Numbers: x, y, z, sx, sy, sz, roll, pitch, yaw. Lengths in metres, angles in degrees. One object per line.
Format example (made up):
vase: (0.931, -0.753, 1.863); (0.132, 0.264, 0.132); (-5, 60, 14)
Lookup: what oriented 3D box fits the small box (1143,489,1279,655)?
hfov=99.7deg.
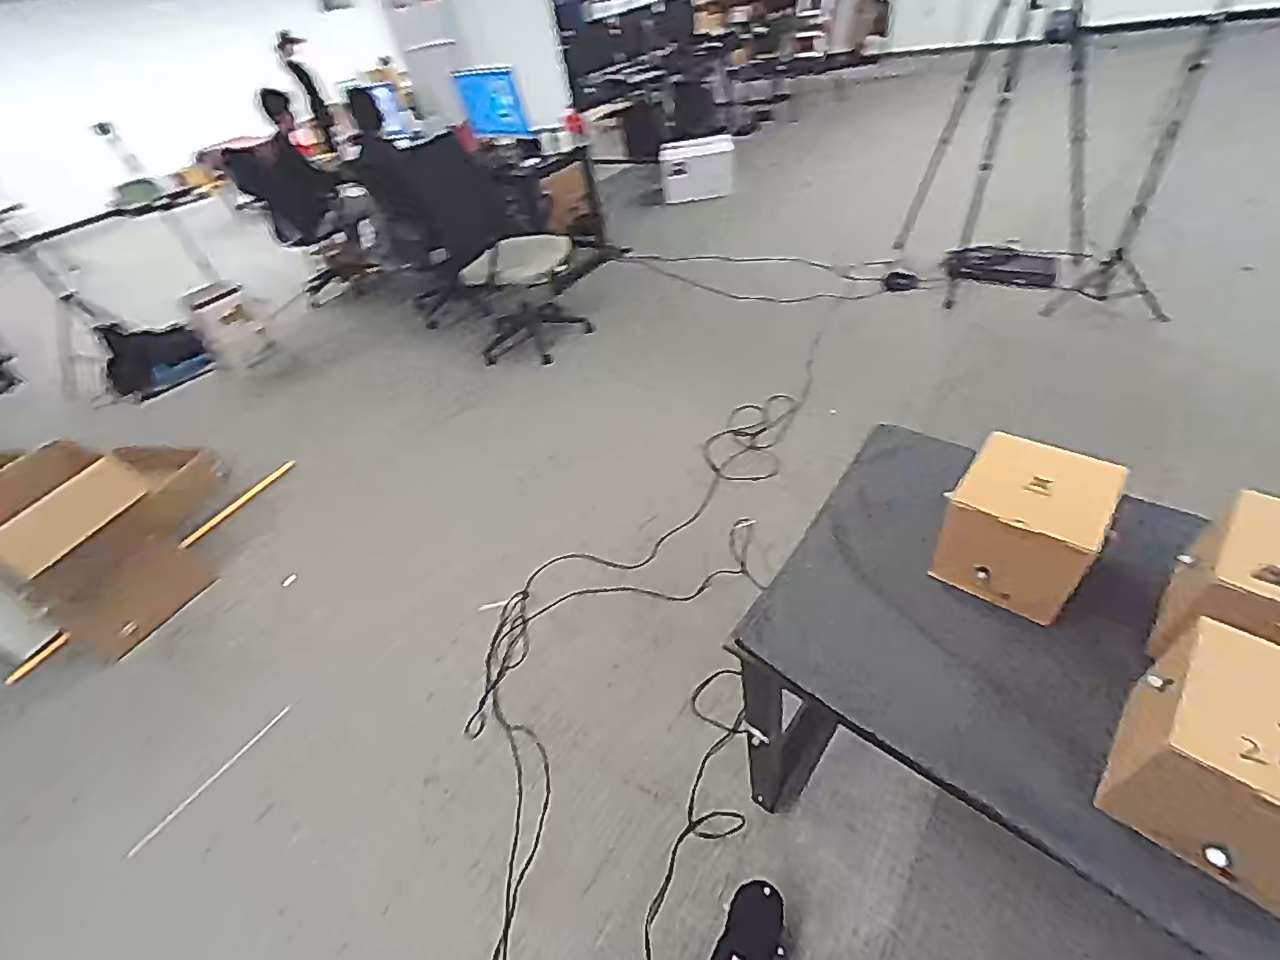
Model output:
small box: (0.756, 0.150, 0.649); (0.168, 0.176, 0.179); (29, 56, 35)

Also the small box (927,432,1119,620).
small box: (0.545, 0.065, 0.788); (0.168, 0.176, 0.179); (26, 55, 33)

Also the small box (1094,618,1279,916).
small box: (0.602, 0.283, 0.543); (0.168, 0.176, 0.179); (27, 55, 35)
